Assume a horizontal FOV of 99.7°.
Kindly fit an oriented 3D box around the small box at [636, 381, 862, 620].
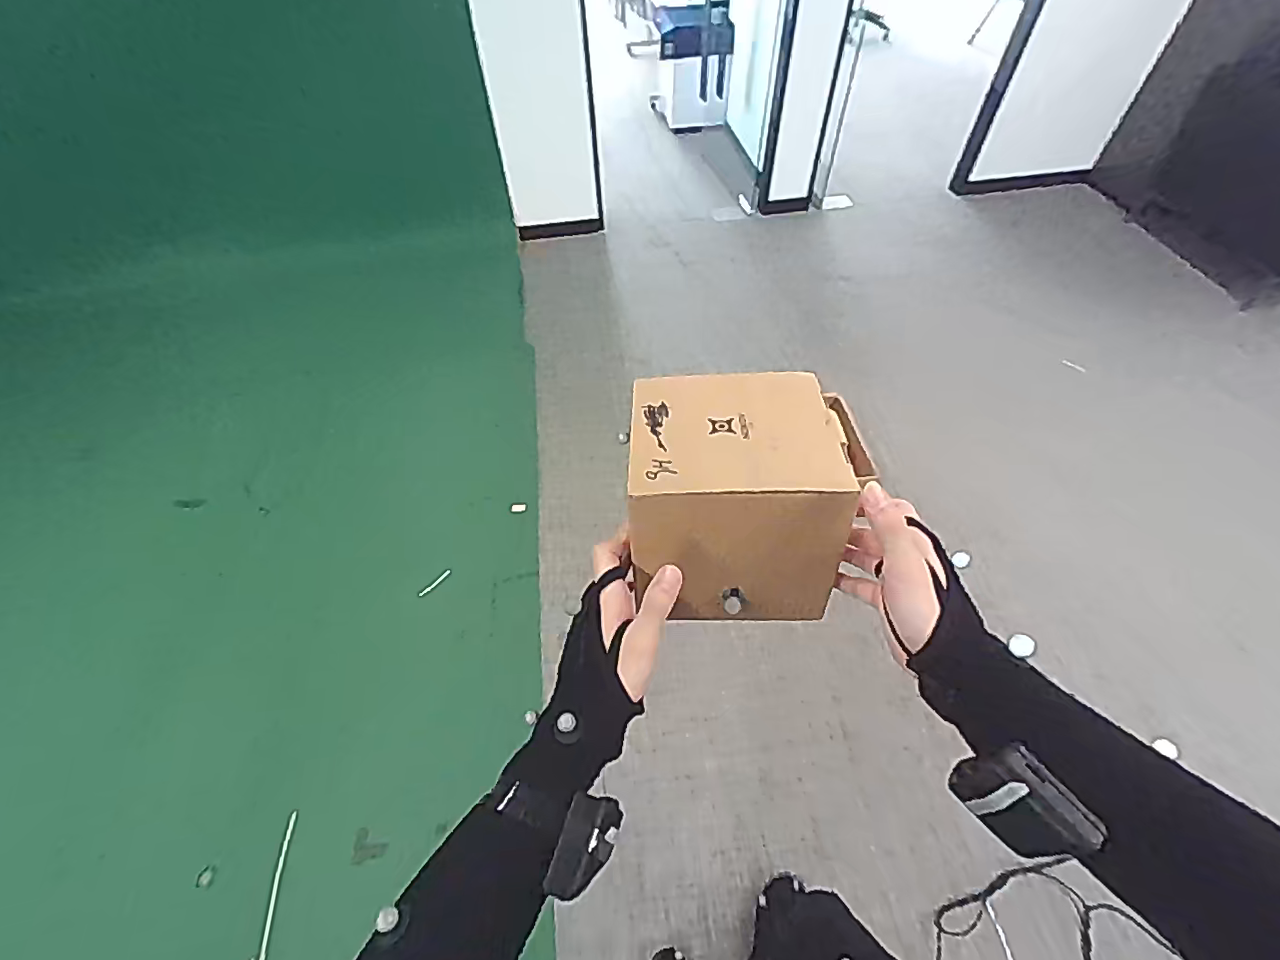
[{"bbox_3d":[0.087,0.021,0.525,0.179,0.176,0.168,0,41,2],"label":"small box"}]
